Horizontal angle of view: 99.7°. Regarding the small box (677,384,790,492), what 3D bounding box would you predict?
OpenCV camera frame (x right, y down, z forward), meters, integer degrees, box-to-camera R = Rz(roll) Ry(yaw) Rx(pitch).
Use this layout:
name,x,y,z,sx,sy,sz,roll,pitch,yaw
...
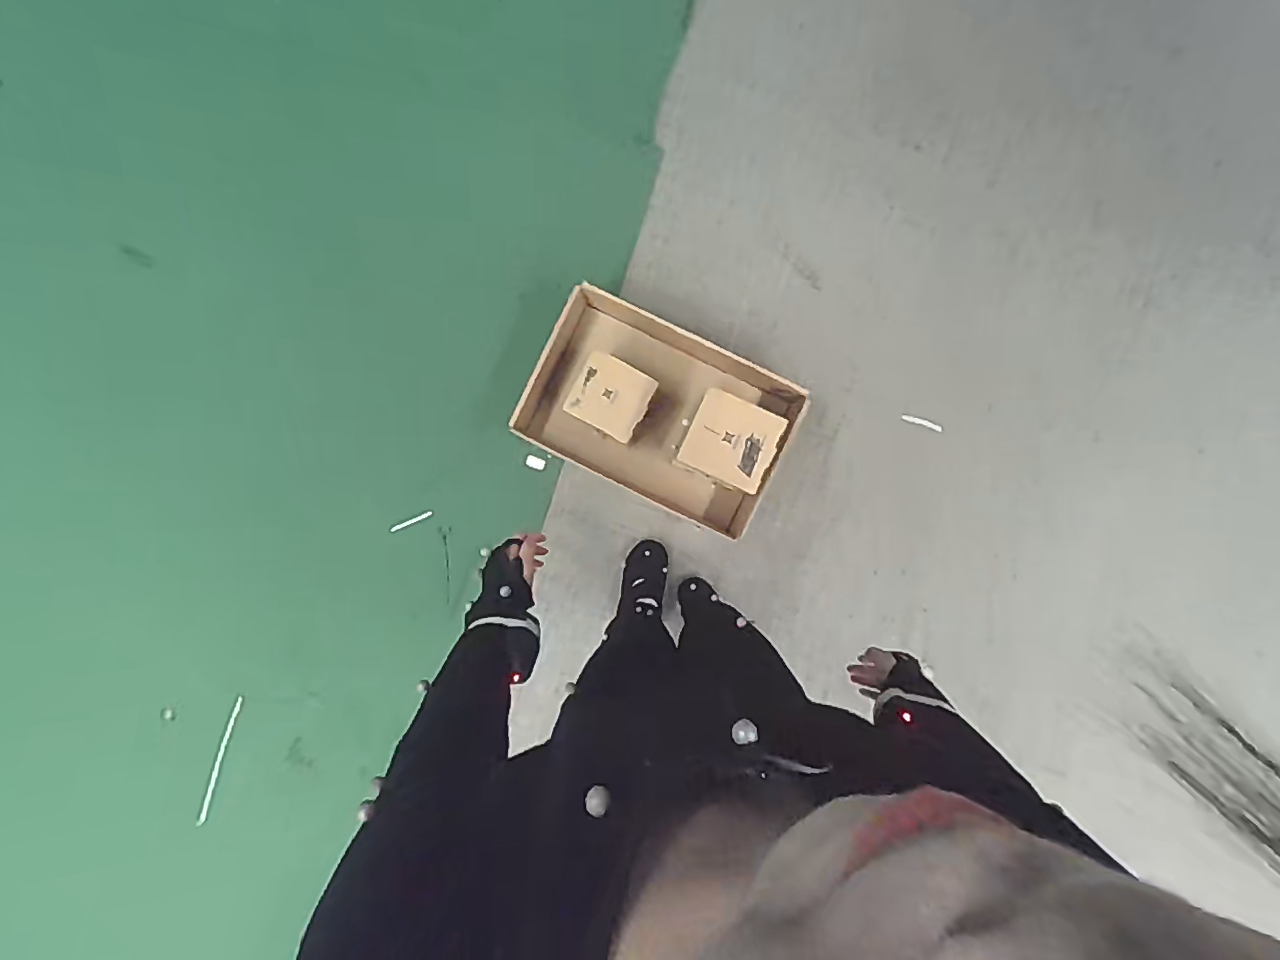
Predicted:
name,x,y,z,sx,sy,sz,roll,pitch,yaw
small box,0.190,-0.087,1.154,0.179,0.176,0.168,24,92,1
